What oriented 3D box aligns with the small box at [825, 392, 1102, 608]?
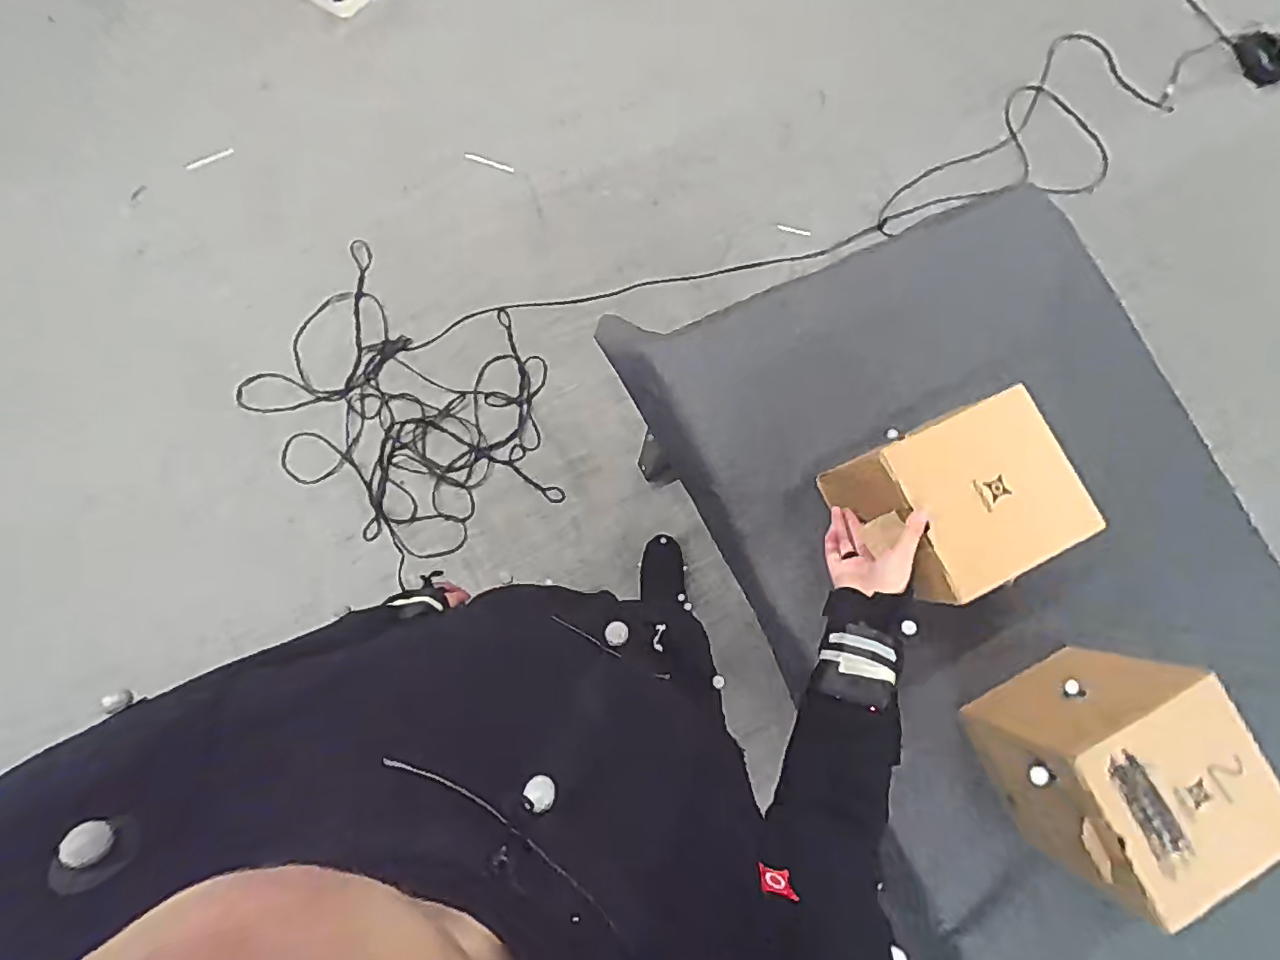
[{"bbox_3d":[0.346,0.026,0.616,0.179,0.176,0.168,-25,84,-6],"label":"small box"}]
